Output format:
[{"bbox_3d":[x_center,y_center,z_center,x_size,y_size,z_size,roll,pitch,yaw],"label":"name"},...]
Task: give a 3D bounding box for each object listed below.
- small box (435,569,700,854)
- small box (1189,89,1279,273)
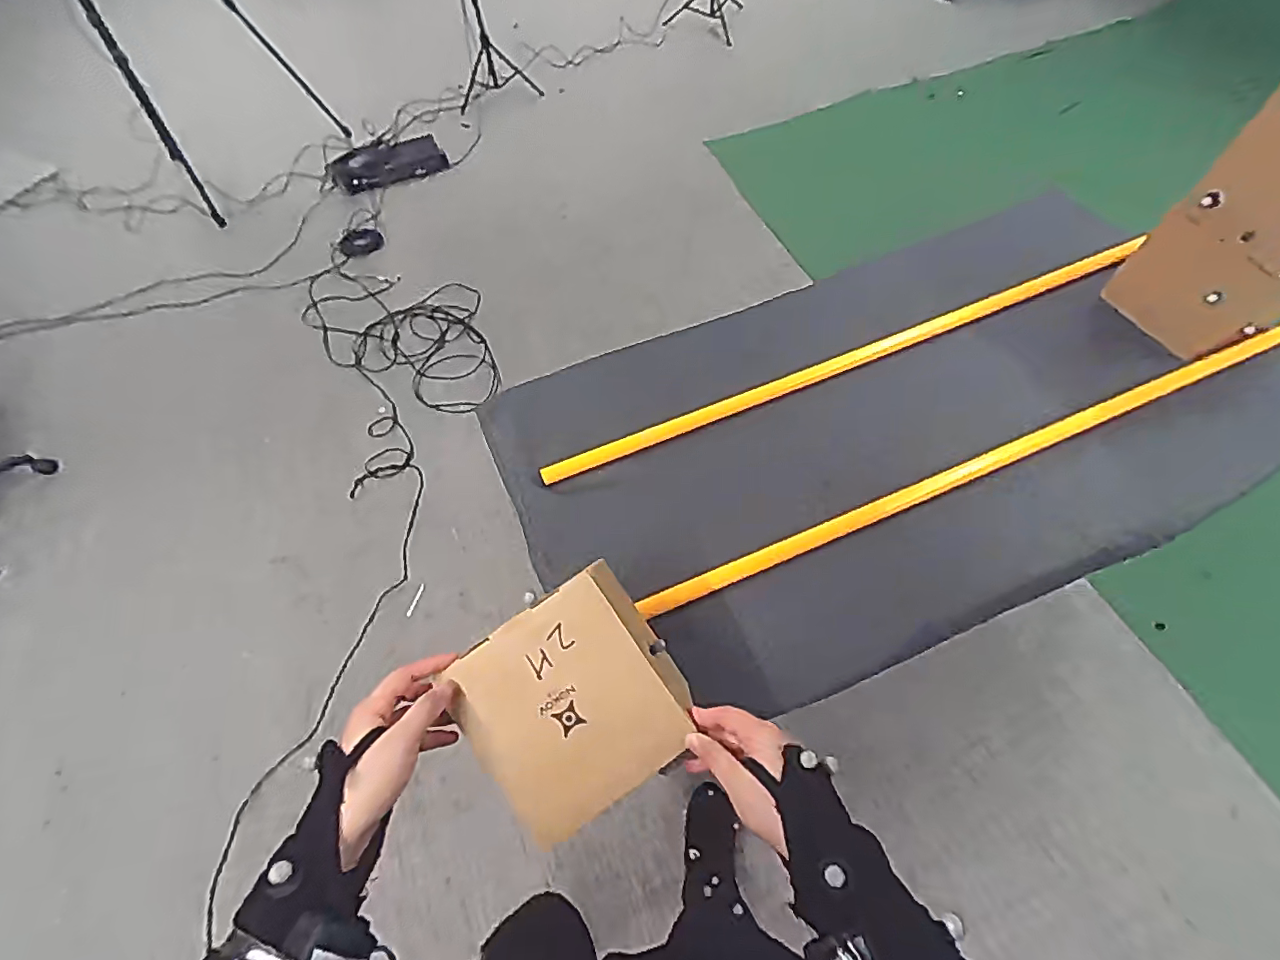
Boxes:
[{"bbox_3d":[-0.061,0.204,0.537,0.168,0.176,0.179,-35,85,-3],"label":"small box"},{"bbox_3d":[0.891,-0.399,0.702,0.179,0.176,0.168,-17,61,-6],"label":"small box"}]
